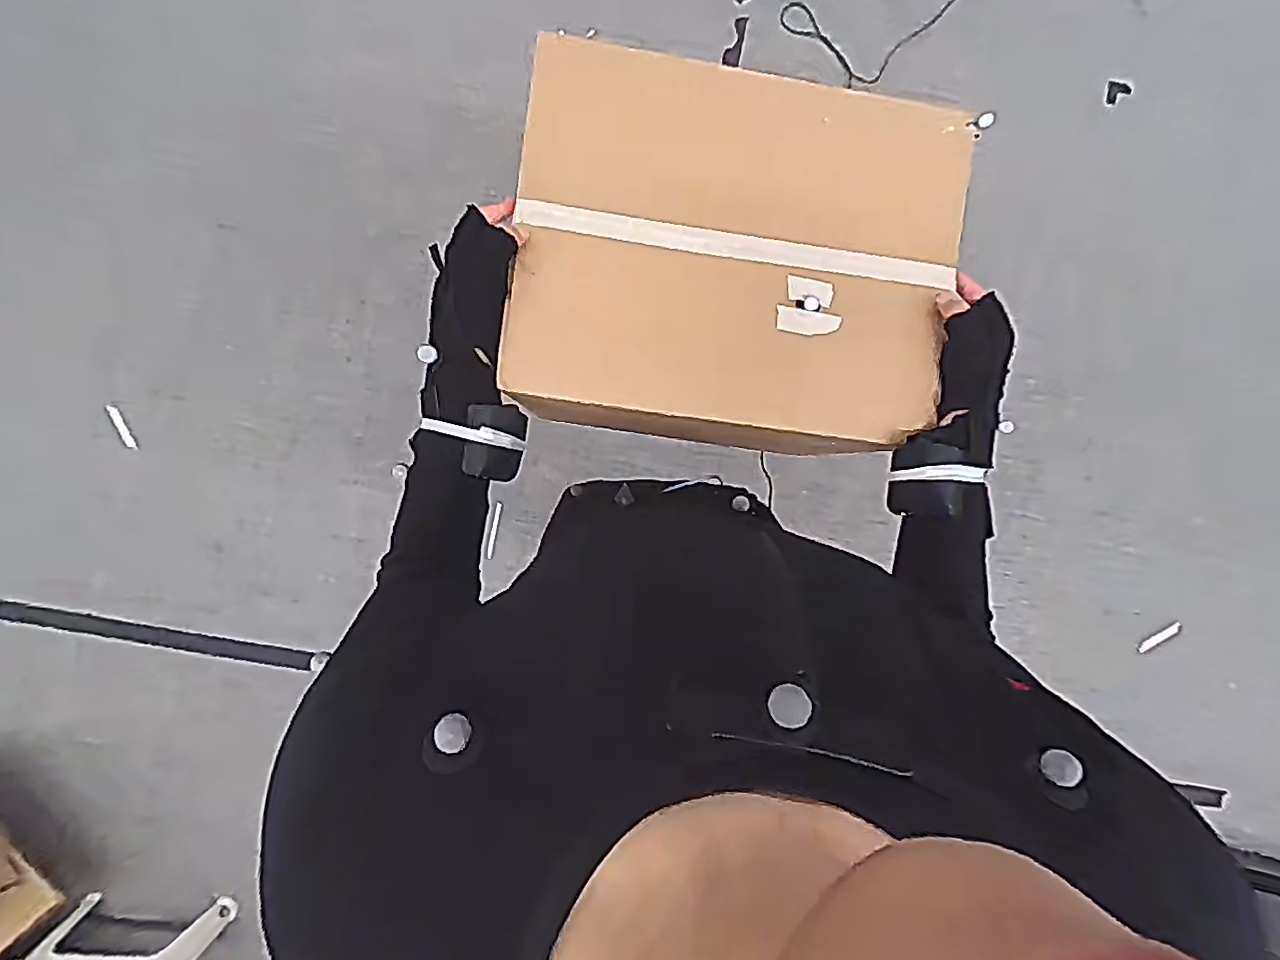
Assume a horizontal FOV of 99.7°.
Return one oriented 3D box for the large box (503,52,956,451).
[{"bbox_3d":[0.073,-0.213,0.647,0.408,0.320,0.320,8,92,-5],"label":"large box"}]
